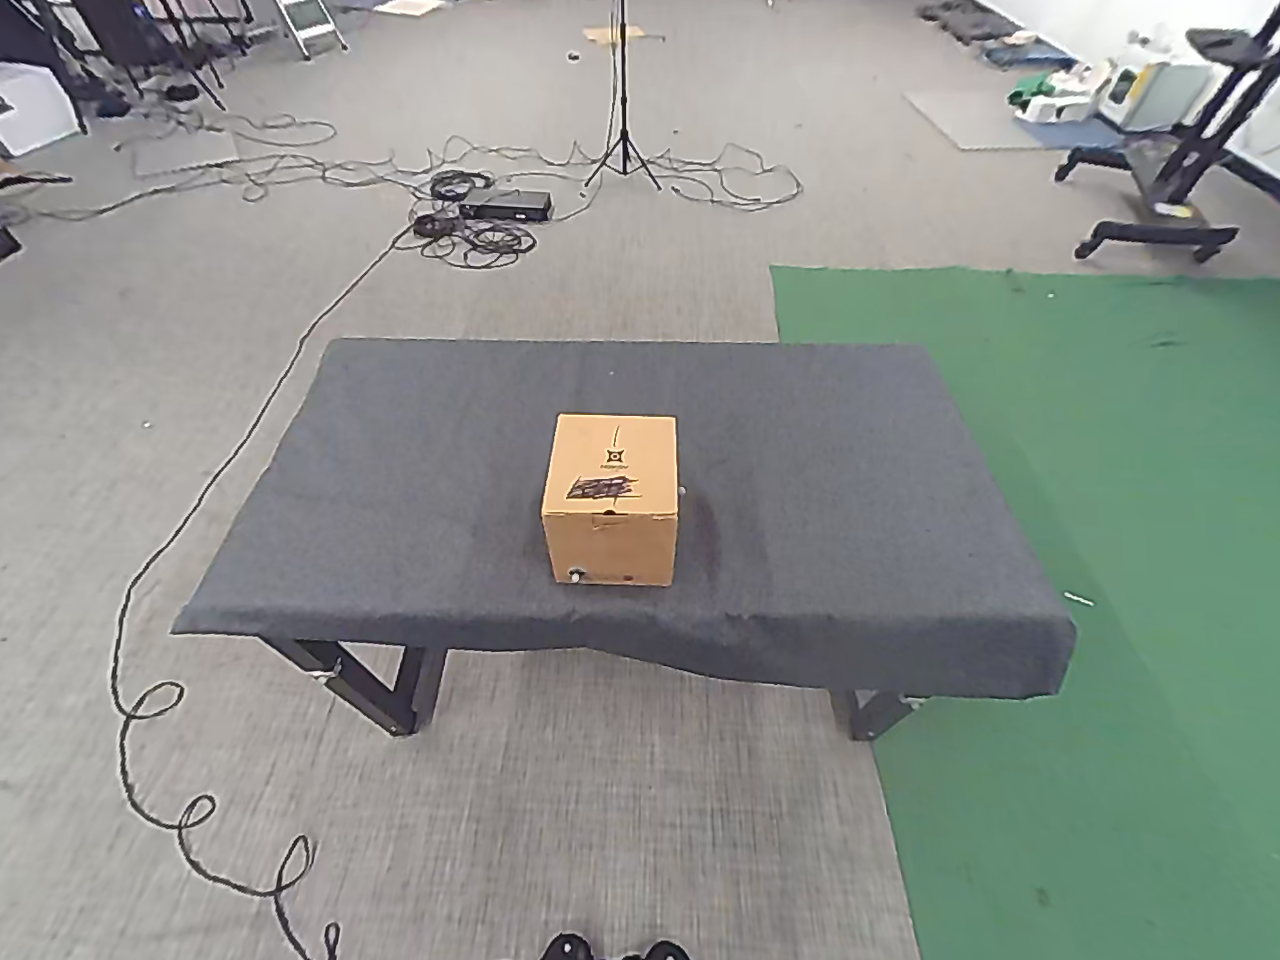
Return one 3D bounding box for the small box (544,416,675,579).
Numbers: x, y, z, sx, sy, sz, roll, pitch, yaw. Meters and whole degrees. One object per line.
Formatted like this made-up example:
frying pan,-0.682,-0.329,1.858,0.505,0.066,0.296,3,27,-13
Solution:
small box,-0.035,0.028,0.780,0.168,0.176,0.179,2,49,1
